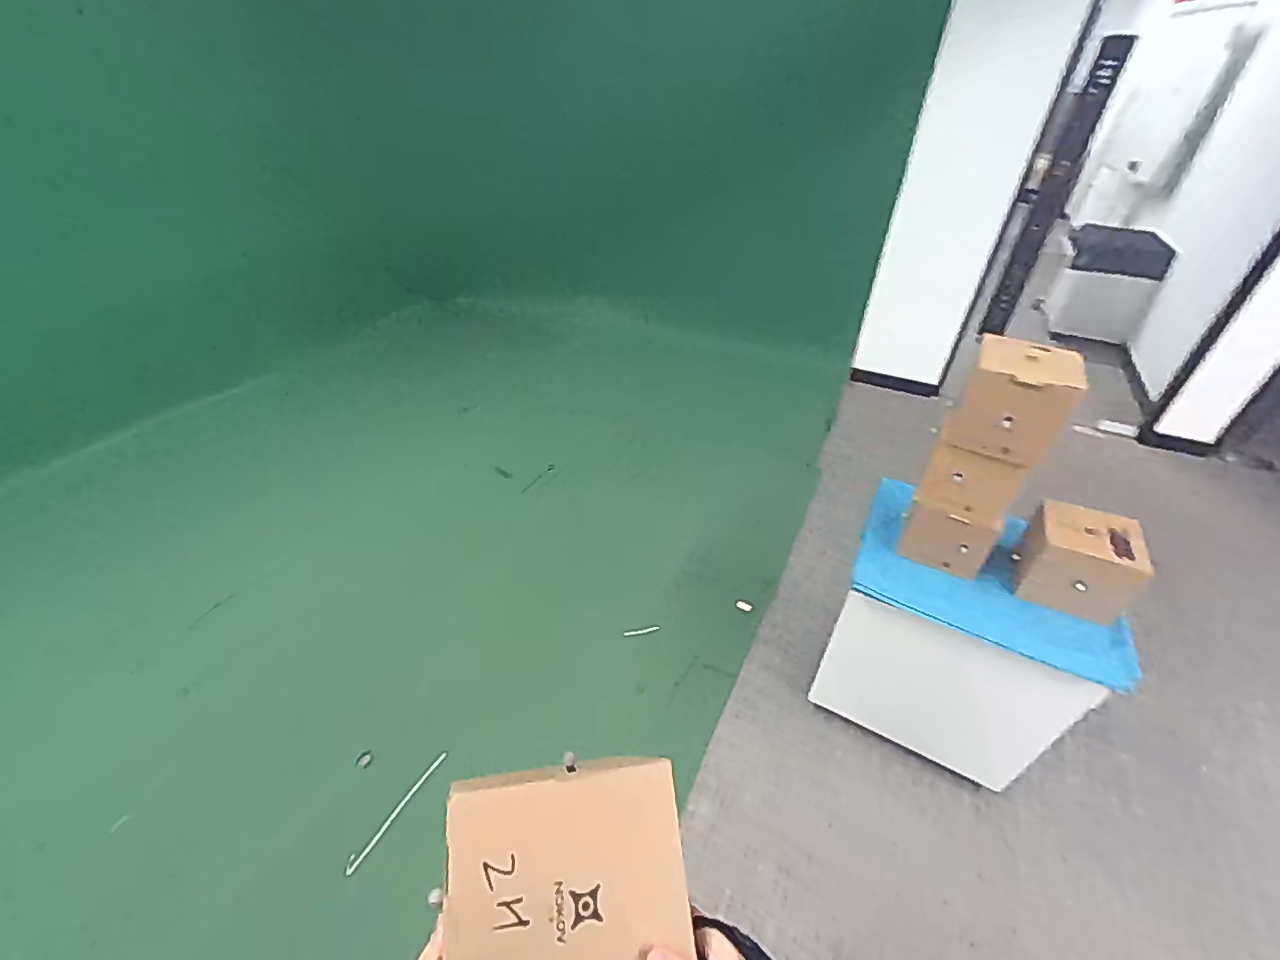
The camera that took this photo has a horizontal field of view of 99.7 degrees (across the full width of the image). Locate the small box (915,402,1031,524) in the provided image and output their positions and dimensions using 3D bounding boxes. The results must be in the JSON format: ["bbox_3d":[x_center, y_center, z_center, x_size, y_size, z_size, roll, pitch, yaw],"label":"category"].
[{"bbox_3d":[0.702,-0.035,1.143,0.168,0.176,0.179,22,42,22],"label":"small box"}]

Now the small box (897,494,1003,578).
[{"bbox_3d":[0.710,0.094,1.241,0.168,0.176,0.179,21,43,21],"label":"small box"}]

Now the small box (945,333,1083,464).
[{"bbox_3d":[0.705,-0.155,1.031,0.168,0.176,0.179,22,43,22],"label":"small box"}]
